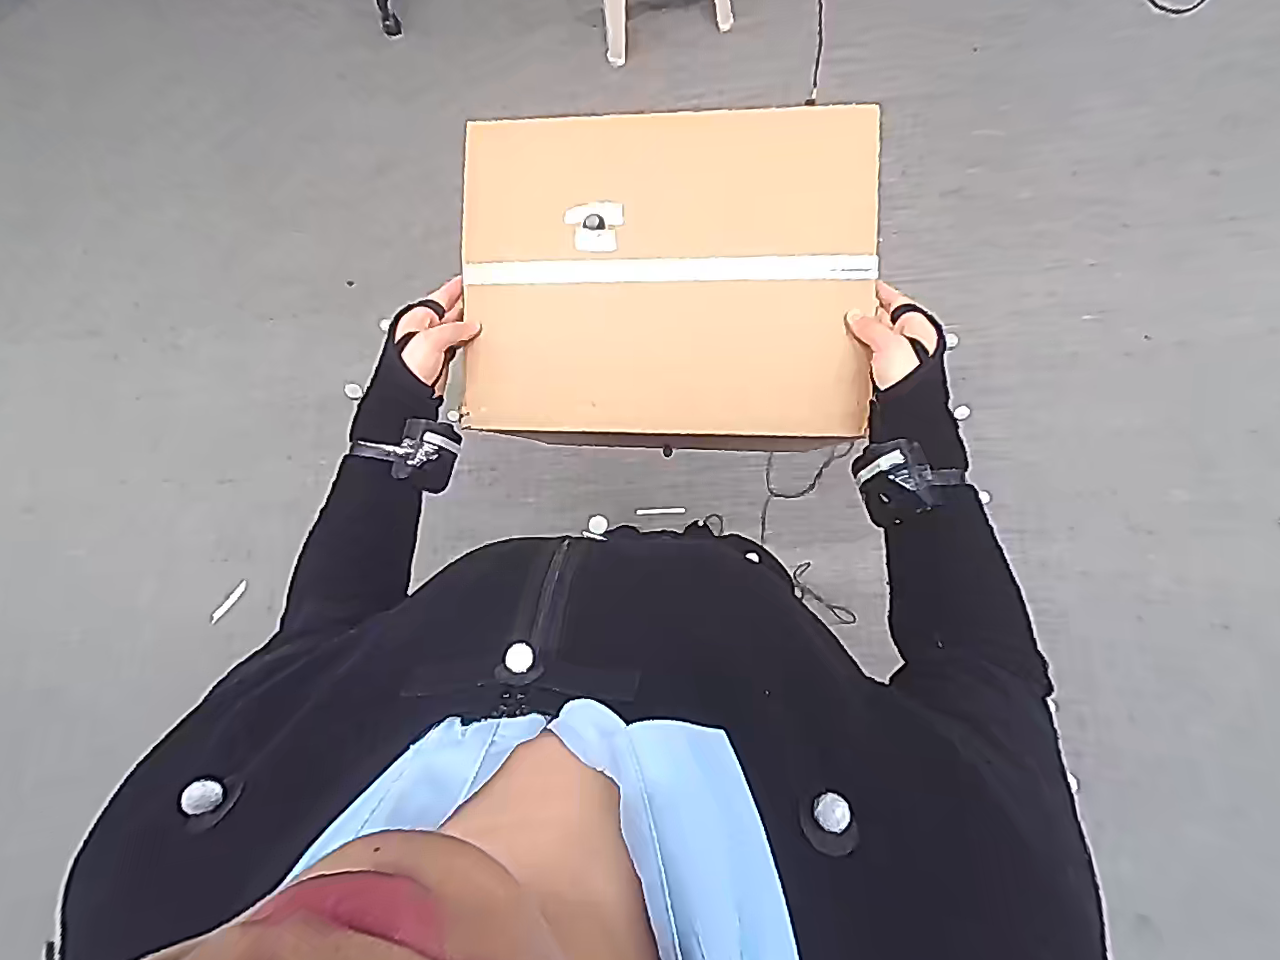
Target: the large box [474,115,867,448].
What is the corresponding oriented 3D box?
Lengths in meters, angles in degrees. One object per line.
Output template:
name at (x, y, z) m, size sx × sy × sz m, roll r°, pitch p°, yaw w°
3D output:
large box at (0.042, -0.201, 0.693) m, size 0.408 × 0.320 × 0.320 m, roll 1°, pitch 89°, yaw 7°
